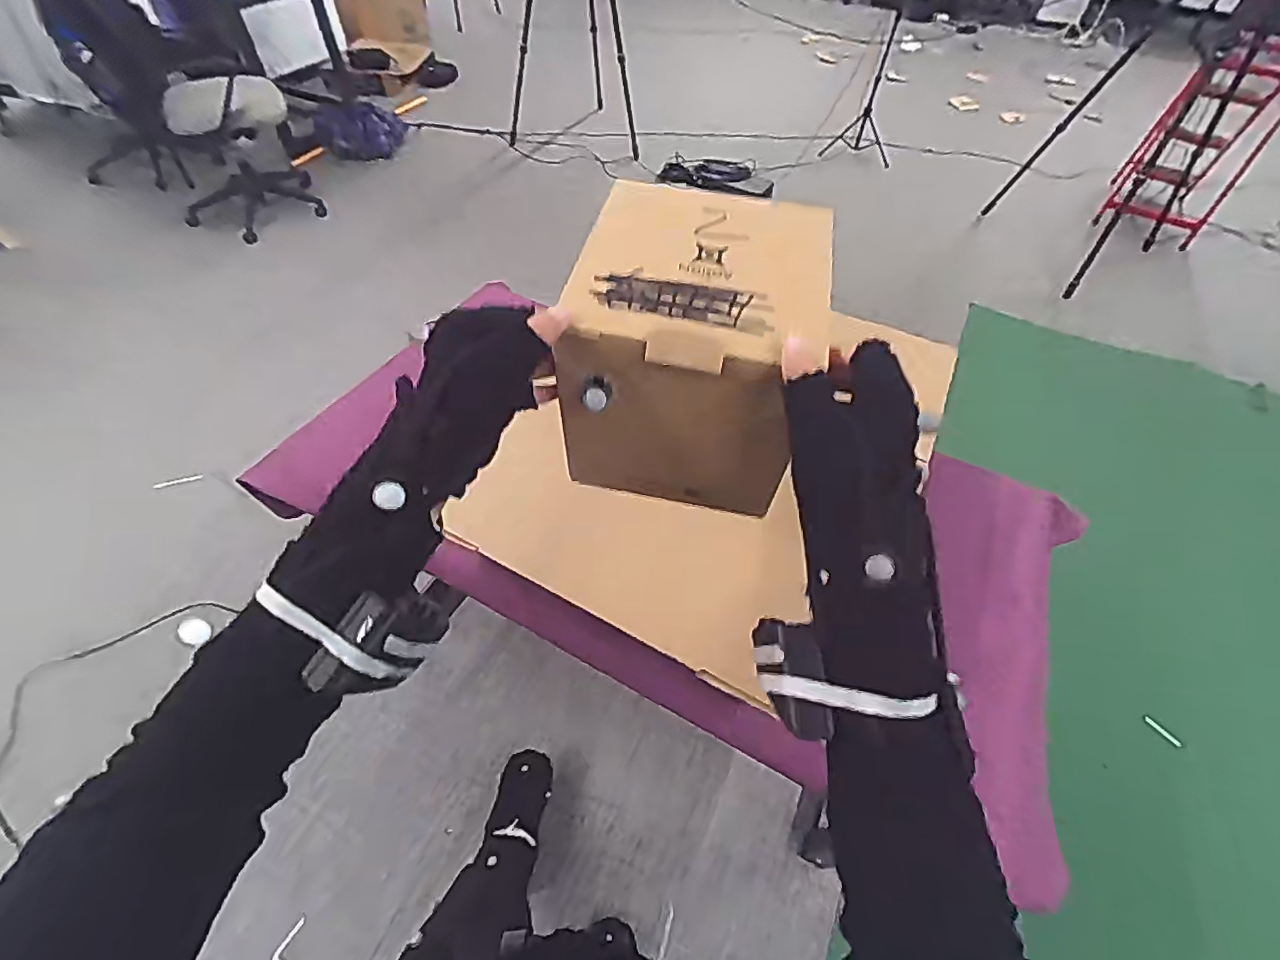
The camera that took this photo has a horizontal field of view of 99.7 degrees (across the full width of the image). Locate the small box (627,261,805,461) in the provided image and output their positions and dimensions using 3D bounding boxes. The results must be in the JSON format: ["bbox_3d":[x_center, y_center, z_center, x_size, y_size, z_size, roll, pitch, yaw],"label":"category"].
[{"bbox_3d":[0.096,-0.155,0.719,0.168,0.176,0.179,25,54,16],"label":"small box"}]
